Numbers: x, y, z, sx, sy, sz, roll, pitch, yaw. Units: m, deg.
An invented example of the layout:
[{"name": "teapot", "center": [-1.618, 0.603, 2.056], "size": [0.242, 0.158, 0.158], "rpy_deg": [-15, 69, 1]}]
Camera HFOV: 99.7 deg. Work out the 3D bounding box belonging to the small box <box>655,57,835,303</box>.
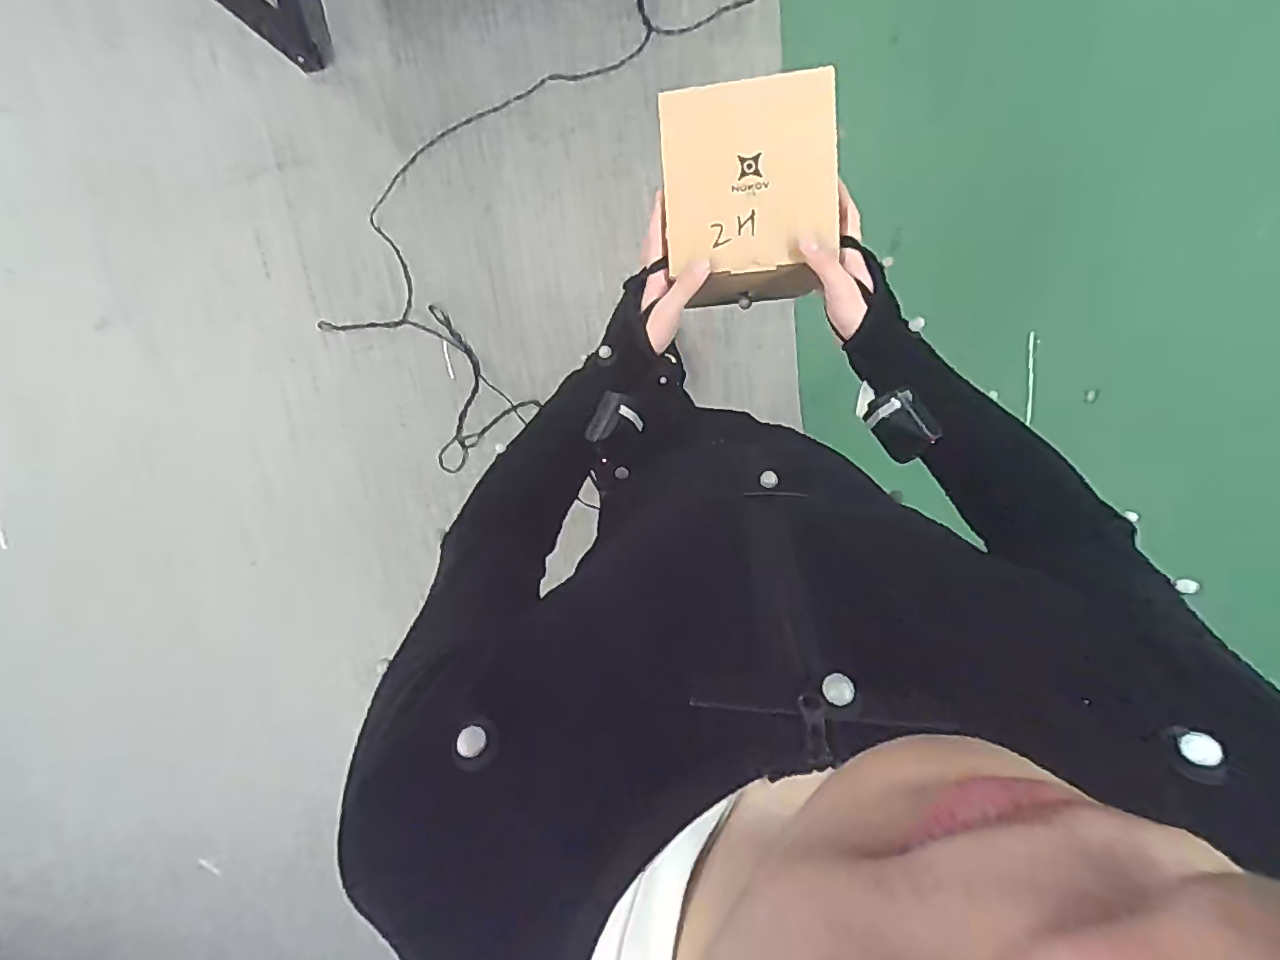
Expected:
[{"name": "small box", "center": [0.109, -0.306, 0.591], "size": [0.168, 0.176, 0.179], "rpy_deg": [-3, 96, 9]}]
